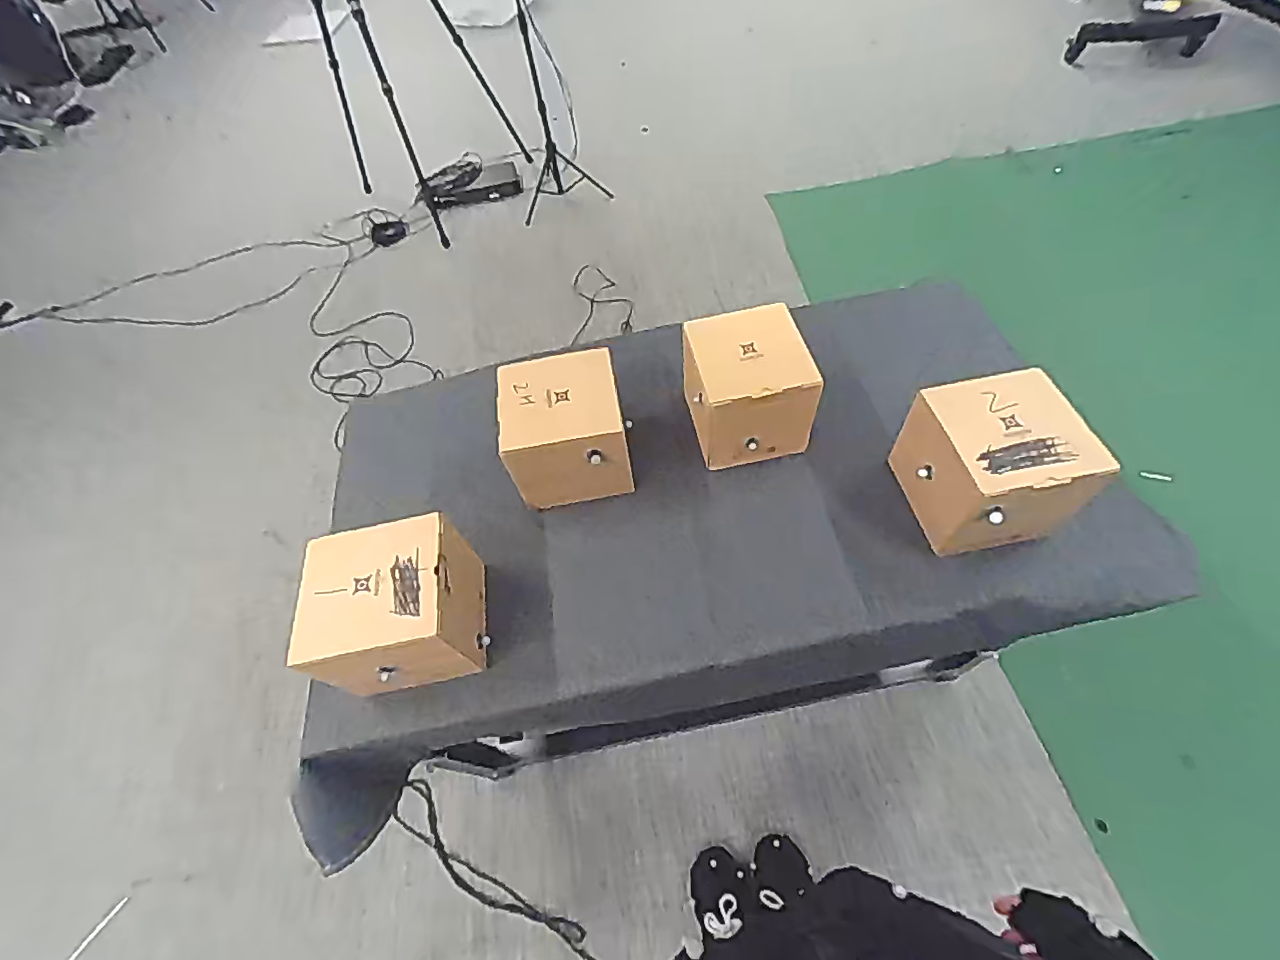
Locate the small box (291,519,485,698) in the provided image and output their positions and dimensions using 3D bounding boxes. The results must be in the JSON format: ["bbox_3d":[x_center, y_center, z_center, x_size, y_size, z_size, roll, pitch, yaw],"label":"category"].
[{"bbox_3d":[-0.313,0.175,0.717,0.179,0.176,0.168,-12,56,-1],"label":"small box"}]

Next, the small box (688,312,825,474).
[{"bbox_3d":[0.173,-0.136,0.868,0.168,0.176,0.179,-11,57,-1],"label":"small box"}]

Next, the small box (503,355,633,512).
[{"bbox_3d":[-0.107,-0.068,0.851,0.179,0.176,0.168,-10,57,0],"label":"small box"}]
